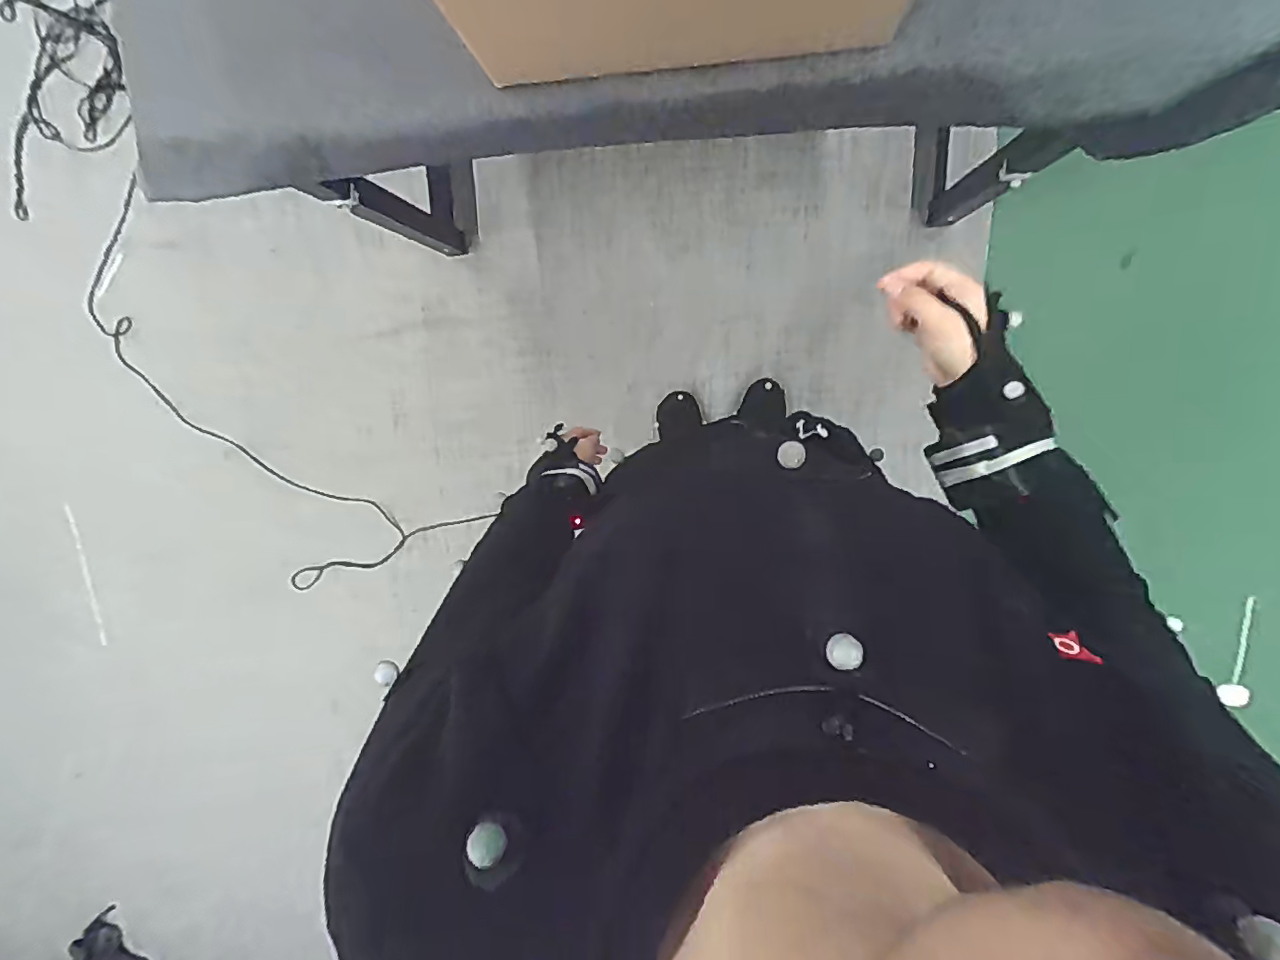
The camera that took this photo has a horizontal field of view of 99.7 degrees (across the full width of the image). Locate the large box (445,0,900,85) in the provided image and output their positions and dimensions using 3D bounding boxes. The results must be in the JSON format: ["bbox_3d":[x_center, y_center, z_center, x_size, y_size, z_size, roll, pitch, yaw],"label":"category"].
[{"bbox_3d":[0.019,-0.551,0.384,0.408,0.320,0.320,-2,100,6],"label":"large box"}]
